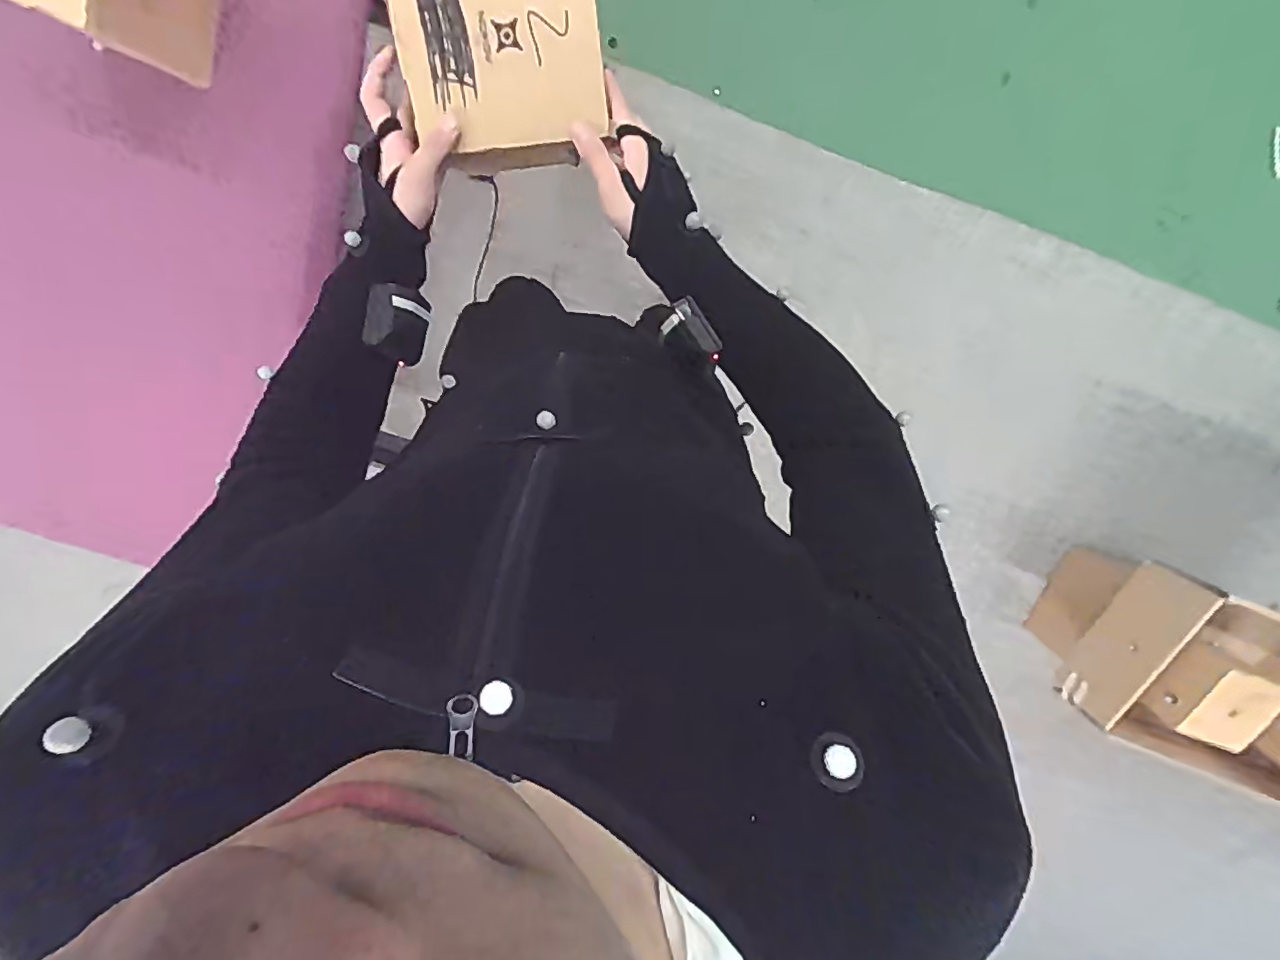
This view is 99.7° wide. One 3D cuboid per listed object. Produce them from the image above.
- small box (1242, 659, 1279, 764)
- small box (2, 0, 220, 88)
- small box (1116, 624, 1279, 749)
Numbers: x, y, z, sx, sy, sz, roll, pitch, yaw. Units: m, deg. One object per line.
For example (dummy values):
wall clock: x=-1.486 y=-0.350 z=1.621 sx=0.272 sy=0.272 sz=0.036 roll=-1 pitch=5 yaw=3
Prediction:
small box: x=1.508 y=0.553 z=1.257 sx=0.168 sy=0.176 sz=0.179 roll=24 pitch=108 yaw=-6
small box: x=-0.625 y=-0.602 z=0.618 sx=0.168 sy=0.176 sz=0.179 roll=22 pitch=109 yaw=-6
small box: x=1.250 y=0.463 z=1.230 sx=0.168 sy=0.176 sz=0.179 roll=20 pitch=107 yaw=-6
